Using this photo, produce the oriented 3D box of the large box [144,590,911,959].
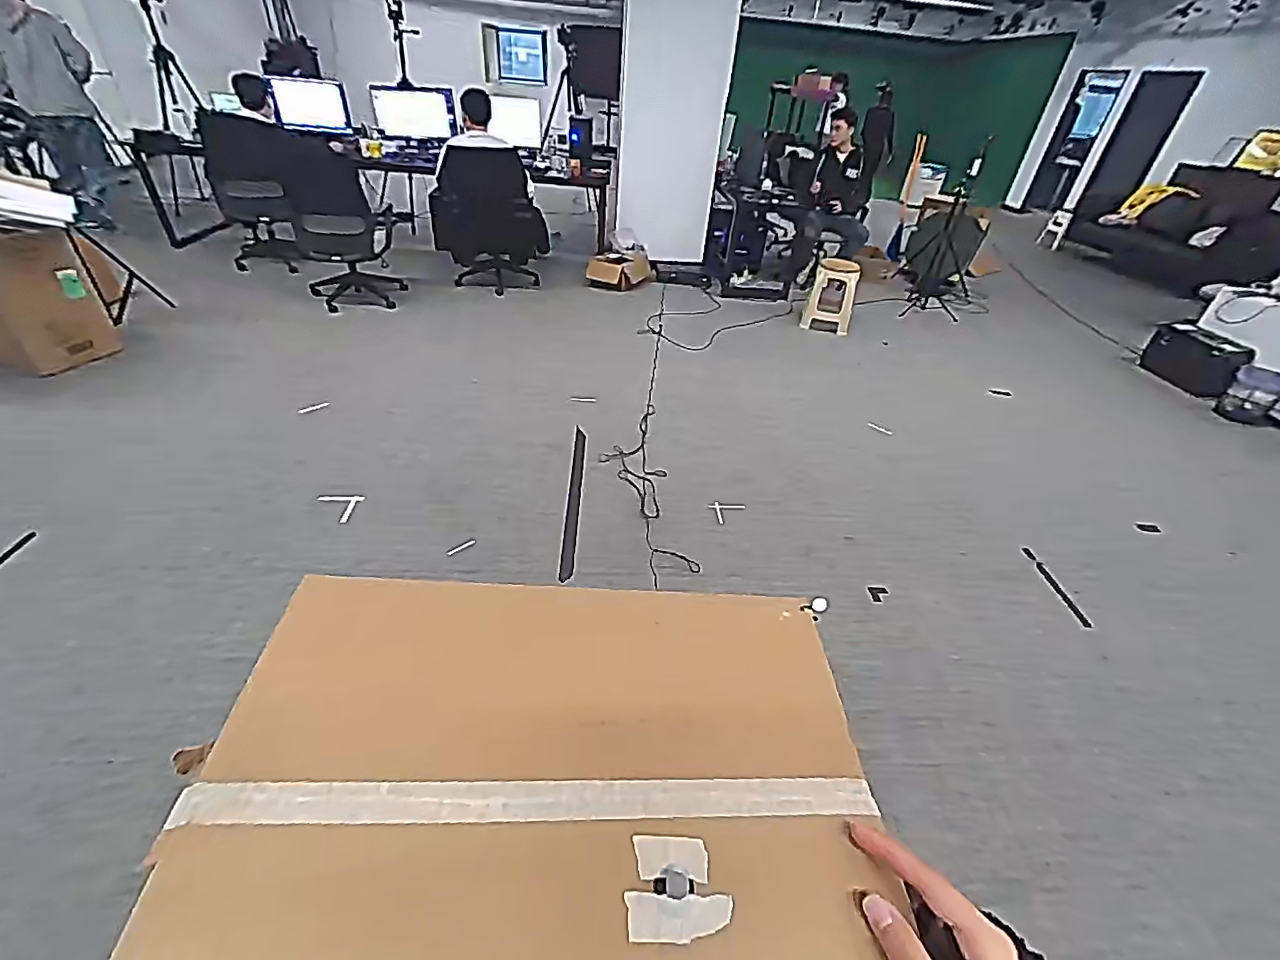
[{"bbox_3d":[-0.071,0.310,0.433,0.408,0.320,0.320,5,43,-8],"label":"large box"}]
